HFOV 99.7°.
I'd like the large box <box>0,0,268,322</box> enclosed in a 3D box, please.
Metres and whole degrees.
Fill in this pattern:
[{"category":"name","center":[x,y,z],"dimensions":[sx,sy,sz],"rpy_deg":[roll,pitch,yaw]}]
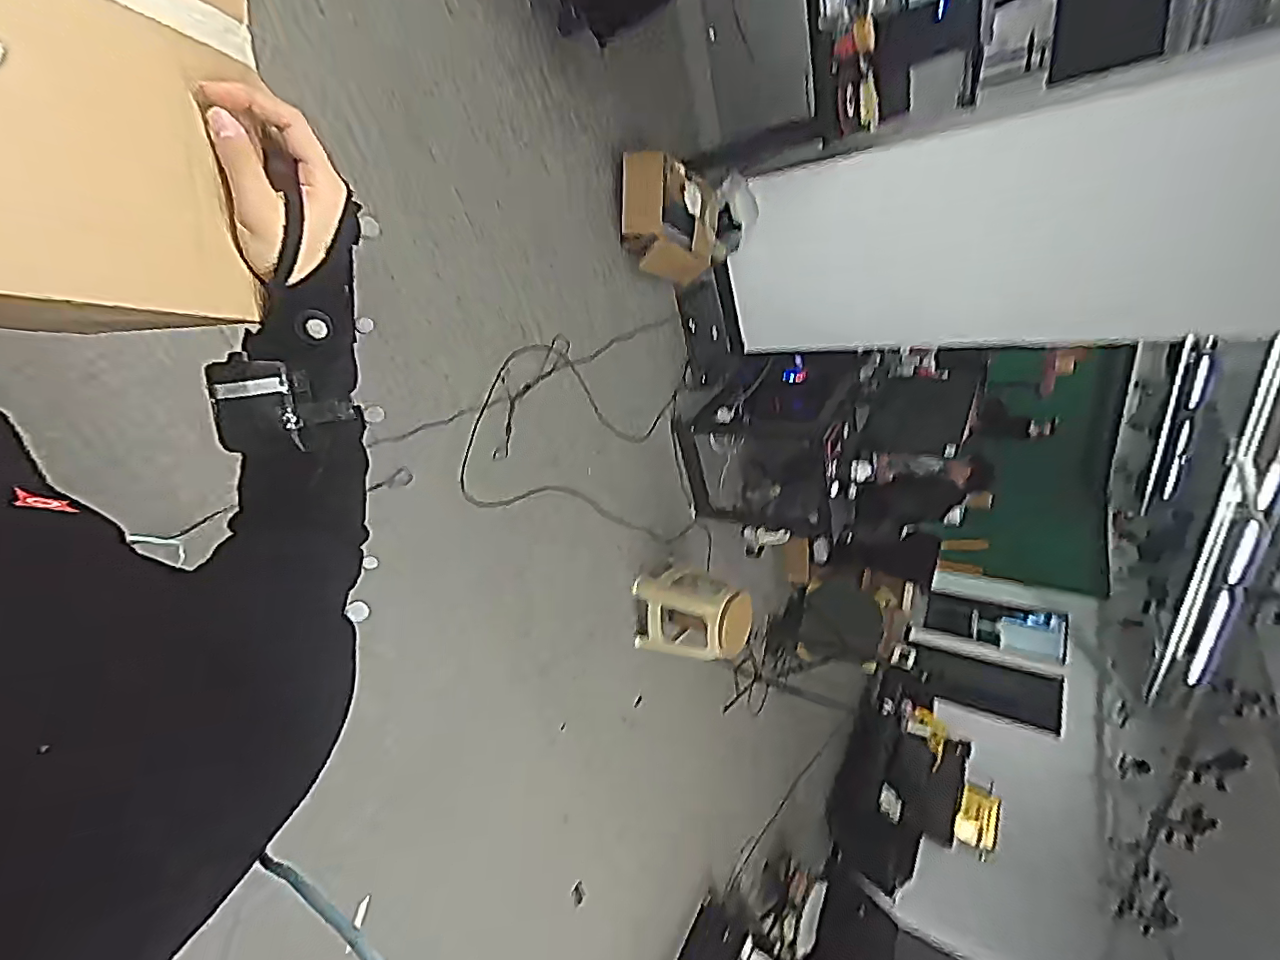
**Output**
[{"category":"large box","center":[-0.470,-0.246,0.228],"dimensions":[0.408,0.320,0.320],"rpy_deg":[-18,113,-60]}]
